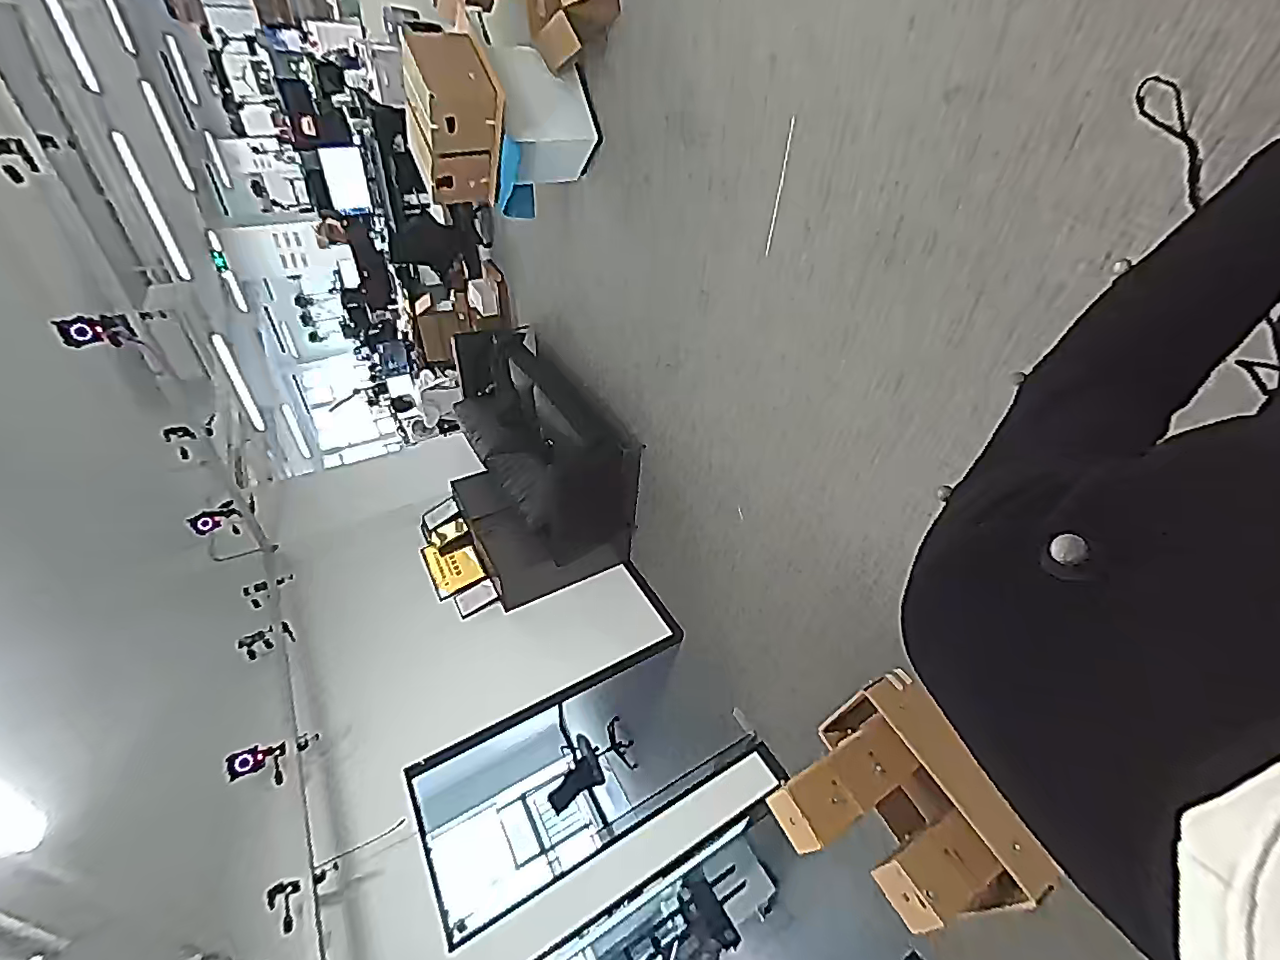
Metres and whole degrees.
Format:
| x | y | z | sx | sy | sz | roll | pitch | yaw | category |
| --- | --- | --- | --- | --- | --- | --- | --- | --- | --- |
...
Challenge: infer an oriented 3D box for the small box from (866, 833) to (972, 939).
| x | y | z | sx | sy | sz | roll | pitch | yaw | category |
| --- | --- | --- | --- | --- | --- | --- | --- | --- | --- |
| 0.780 | 1.132 | 1.511 | 0.168 | 0.176 | 0.179 | 51 | 148 | 34 | small box |

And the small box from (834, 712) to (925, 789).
| x | y | z | sx | sy | sz | roll | pitch | yaw | category |
| --- | --- | --- | --- | --- | --- | --- | --- | --- | --- |
| 0.771 | 0.881 | 1.738 | 0.168 | 0.176 | 0.179 | 56 | 150 | 29 | small box |

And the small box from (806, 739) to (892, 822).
| x | y | z | sx | sy | sz | roll | pitch | yaw | category |
| --- | --- | --- | --- | --- | --- | --- | --- | --- | --- |
| 0.635 | 0.931 | 1.664 | 0.168 | 0.176 | 0.179 | 55 | 150 | 29 | small box |

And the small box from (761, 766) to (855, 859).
| x | y | z | sx | sy | sz | roll | pitch | yaw | category |
| --- | --- | --- | --- | --- | --- | --- | --- | --- | --- |
| 0.496 | 0.979 | 1.596 | 0.168 | 0.176 | 0.179 | 55 | 149 | 29 | small box |
